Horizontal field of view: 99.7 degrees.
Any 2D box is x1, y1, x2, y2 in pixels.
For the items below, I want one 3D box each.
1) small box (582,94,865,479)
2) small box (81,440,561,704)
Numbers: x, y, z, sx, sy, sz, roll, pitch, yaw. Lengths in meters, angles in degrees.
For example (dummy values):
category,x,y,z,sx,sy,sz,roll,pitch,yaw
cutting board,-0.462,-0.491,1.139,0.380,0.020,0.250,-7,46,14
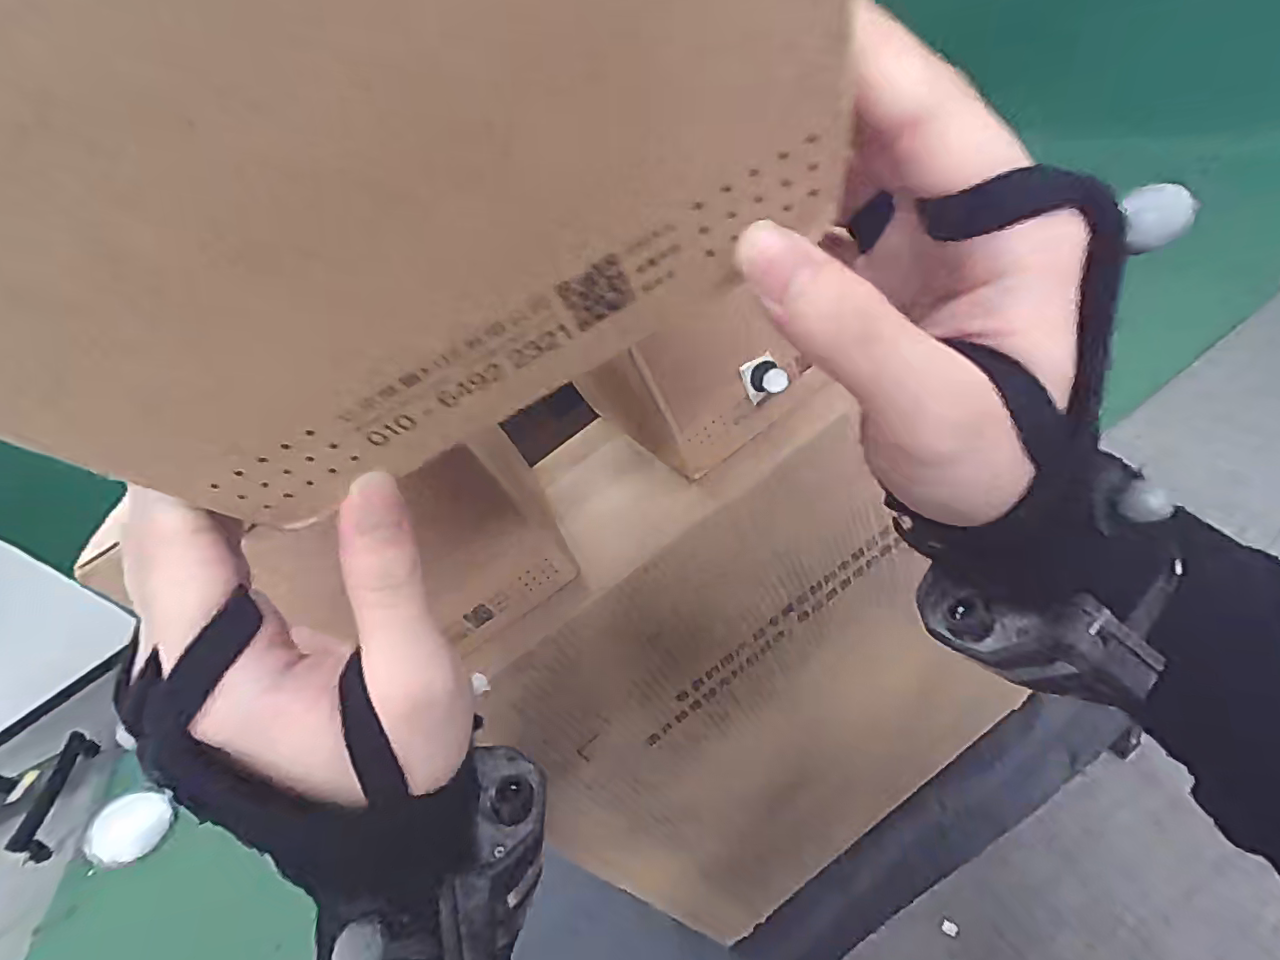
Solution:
category,x,y,z,sx,sy,sz,roll,pitch,yaw
small box,0.025,-0.128,0.380,0.168,0.176,0.179,-40,38,-9
small box,-0.173,0.016,0.353,0.168,0.176,0.179,-35,35,-2
